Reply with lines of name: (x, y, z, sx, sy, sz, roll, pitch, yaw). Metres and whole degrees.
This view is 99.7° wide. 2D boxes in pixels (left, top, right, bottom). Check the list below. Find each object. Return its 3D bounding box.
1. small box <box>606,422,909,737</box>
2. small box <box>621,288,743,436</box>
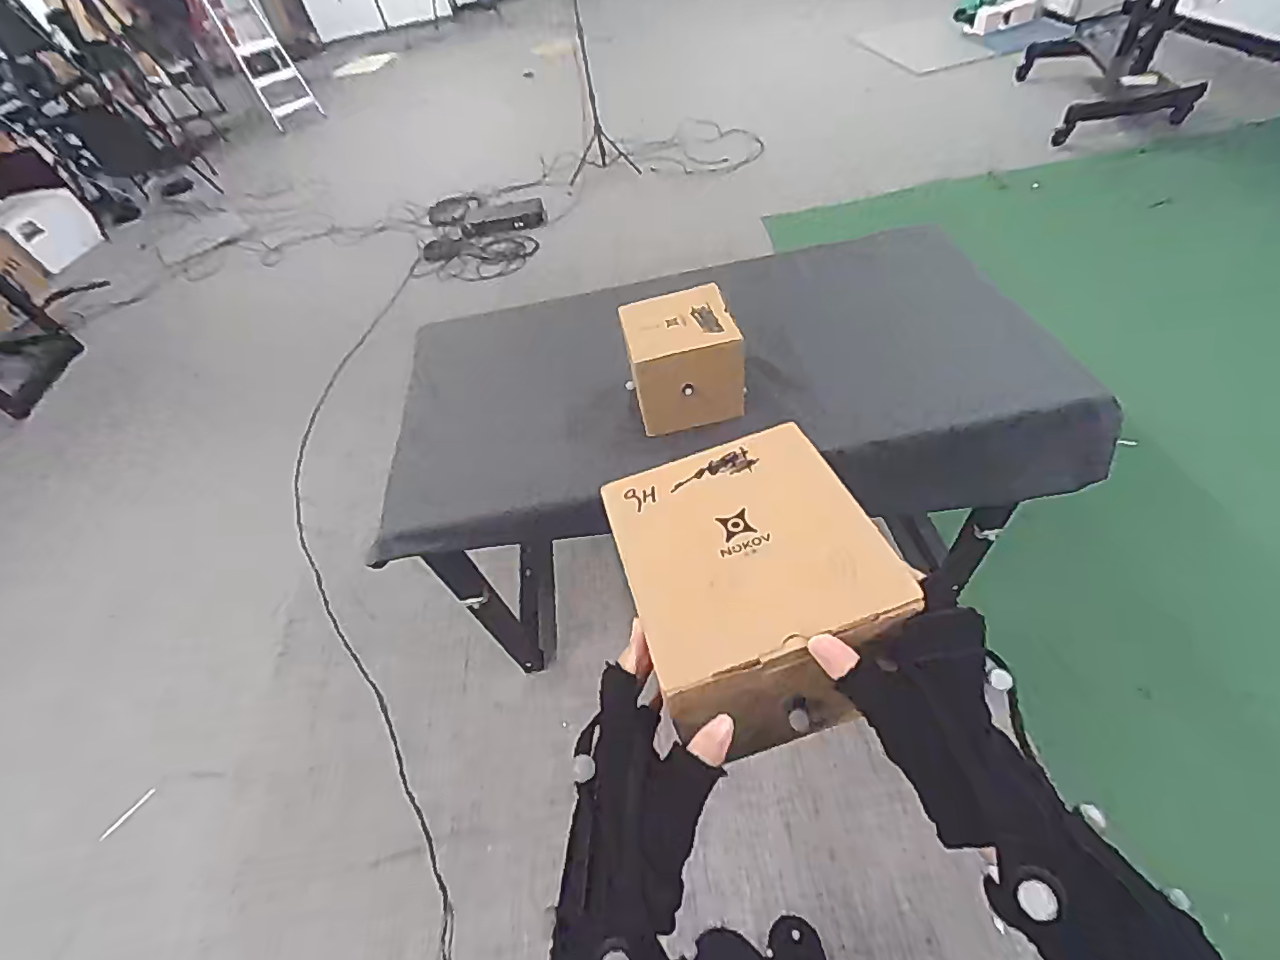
small box: (0.085, 0.088, 0.444, 0.168, 0.176, 0.179, -18, 47, -2)
small box: (0.074, -0.204, 0.951, 0.179, 0.176, 0.168, -13, 50, 1)
